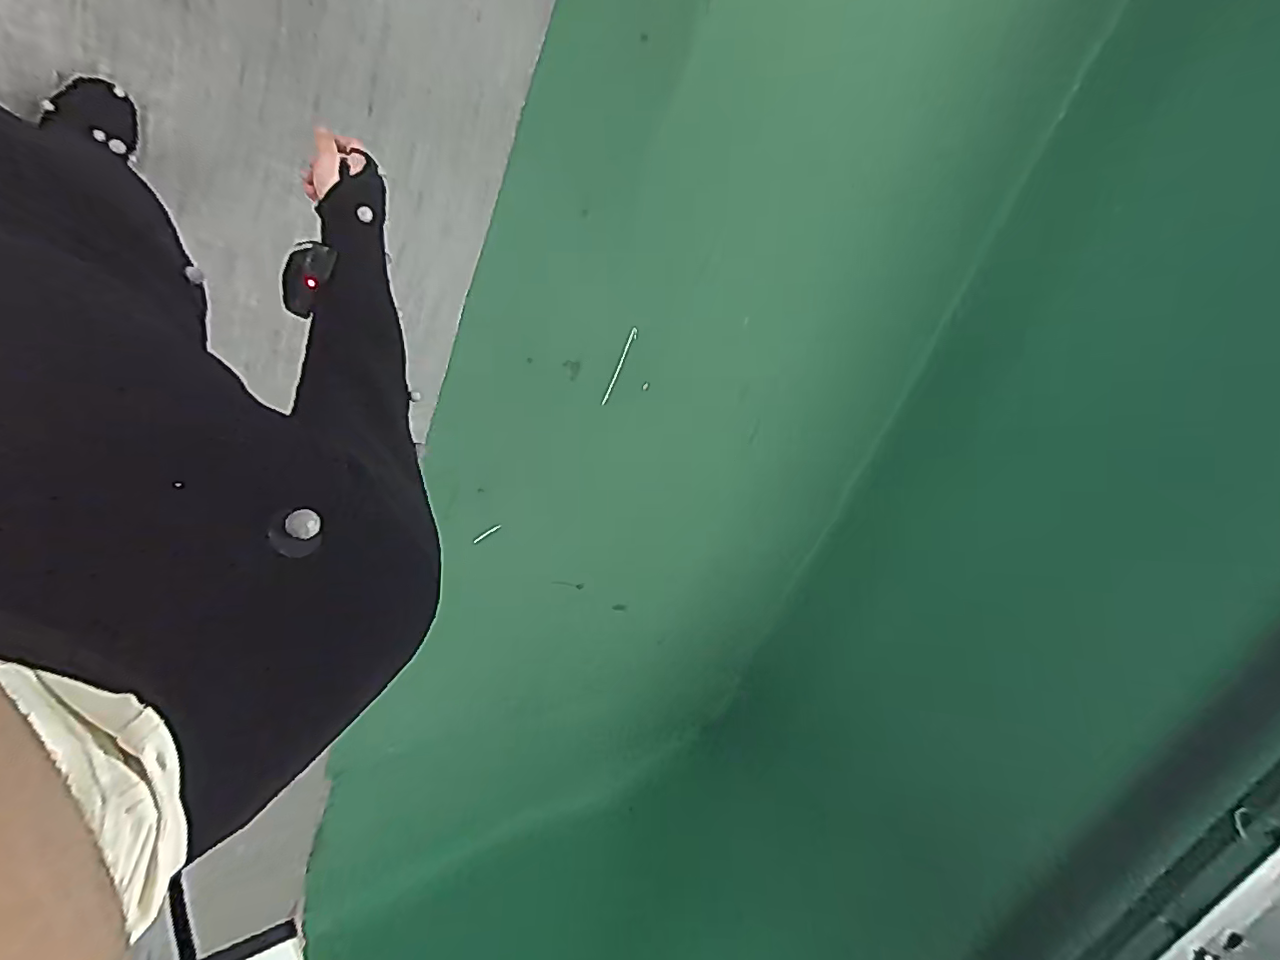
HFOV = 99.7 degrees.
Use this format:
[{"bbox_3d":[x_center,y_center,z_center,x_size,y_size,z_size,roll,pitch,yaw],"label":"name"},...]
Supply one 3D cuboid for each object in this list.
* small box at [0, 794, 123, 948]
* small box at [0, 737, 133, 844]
[{"bbox_3d":[-1.163,0.770,1.076,0.168,0.176,0.179,18,105,-47],"label":"small box"},{"bbox_3d":[-1.255,0.690,1.184,0.179,0.176,0.168,20,104,-49],"label":"small box"}]
